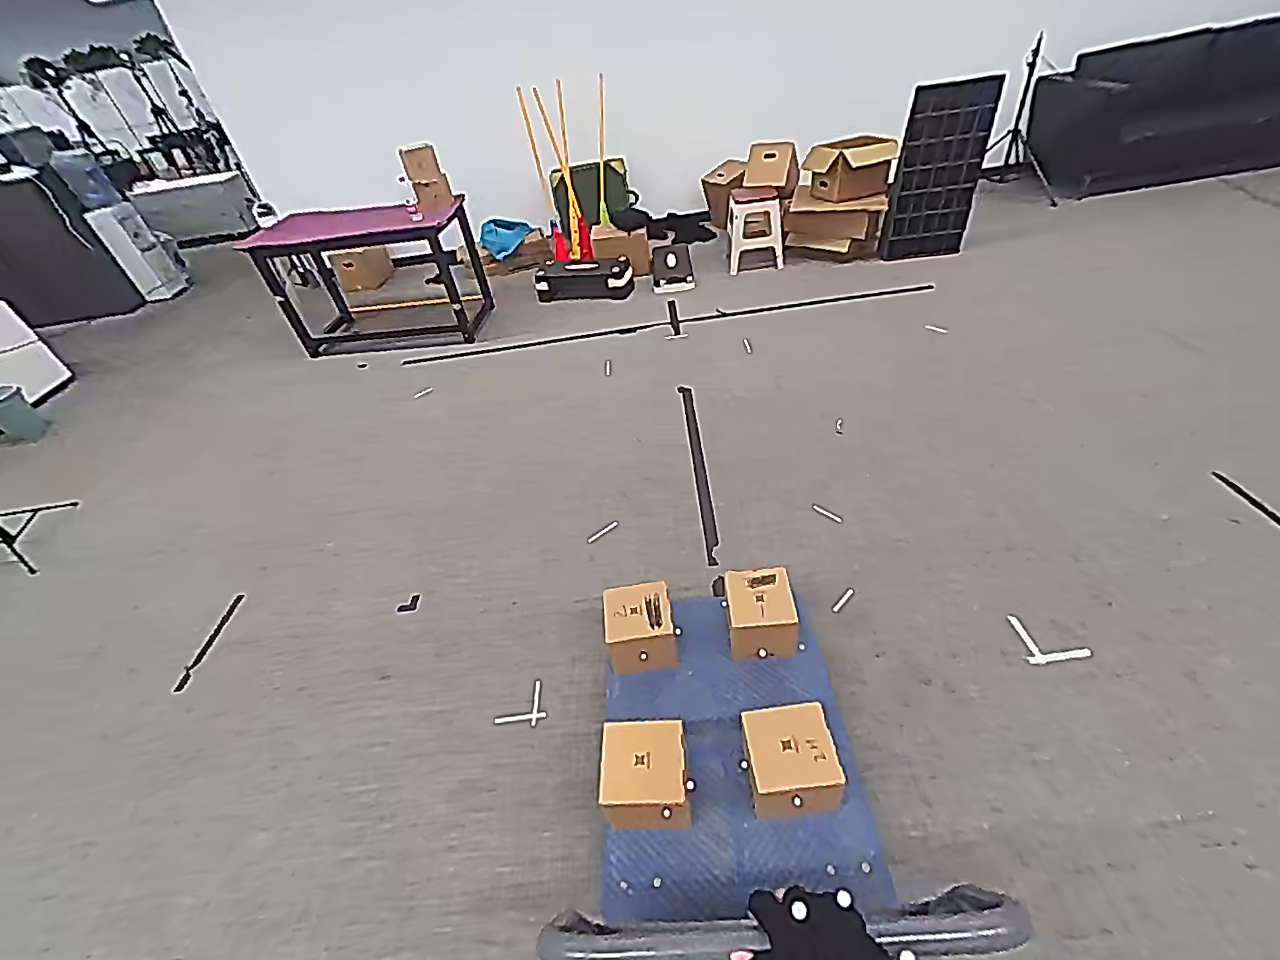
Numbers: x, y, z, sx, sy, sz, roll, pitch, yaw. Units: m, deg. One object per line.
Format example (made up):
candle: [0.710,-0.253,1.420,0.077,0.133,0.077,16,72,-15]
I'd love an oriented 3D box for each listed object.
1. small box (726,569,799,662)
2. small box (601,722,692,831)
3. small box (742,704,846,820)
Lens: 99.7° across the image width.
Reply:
small box: [0.320,0.362,1.446,0.168,0.176,0.179,-6,42,5]
small box: [0.018,0.651,1.183,0.179,0.176,0.168,-4,41,4]
small box: [0.324,0.610,1.166,0.179,0.176,0.168,-8,41,2]
